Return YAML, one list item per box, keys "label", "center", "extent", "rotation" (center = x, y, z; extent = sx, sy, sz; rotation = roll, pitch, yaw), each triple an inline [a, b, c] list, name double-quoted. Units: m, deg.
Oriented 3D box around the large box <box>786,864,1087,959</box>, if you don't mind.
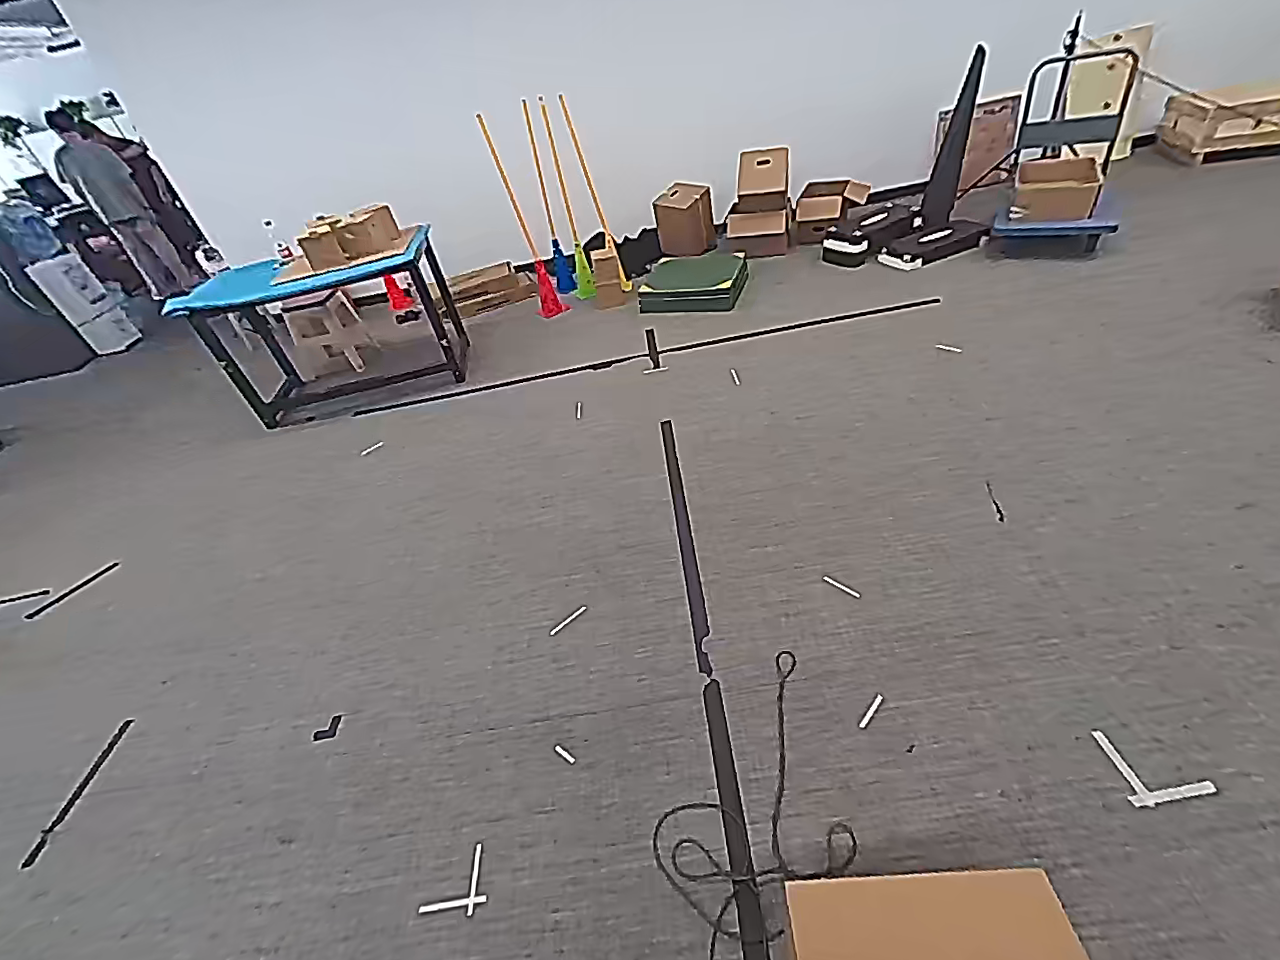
- label: "large box"
  center: [0.466, 0.849, 0.851]
  extent: [0.408, 0.320, 0.320]
  rotation: [-8, 39, 6]
